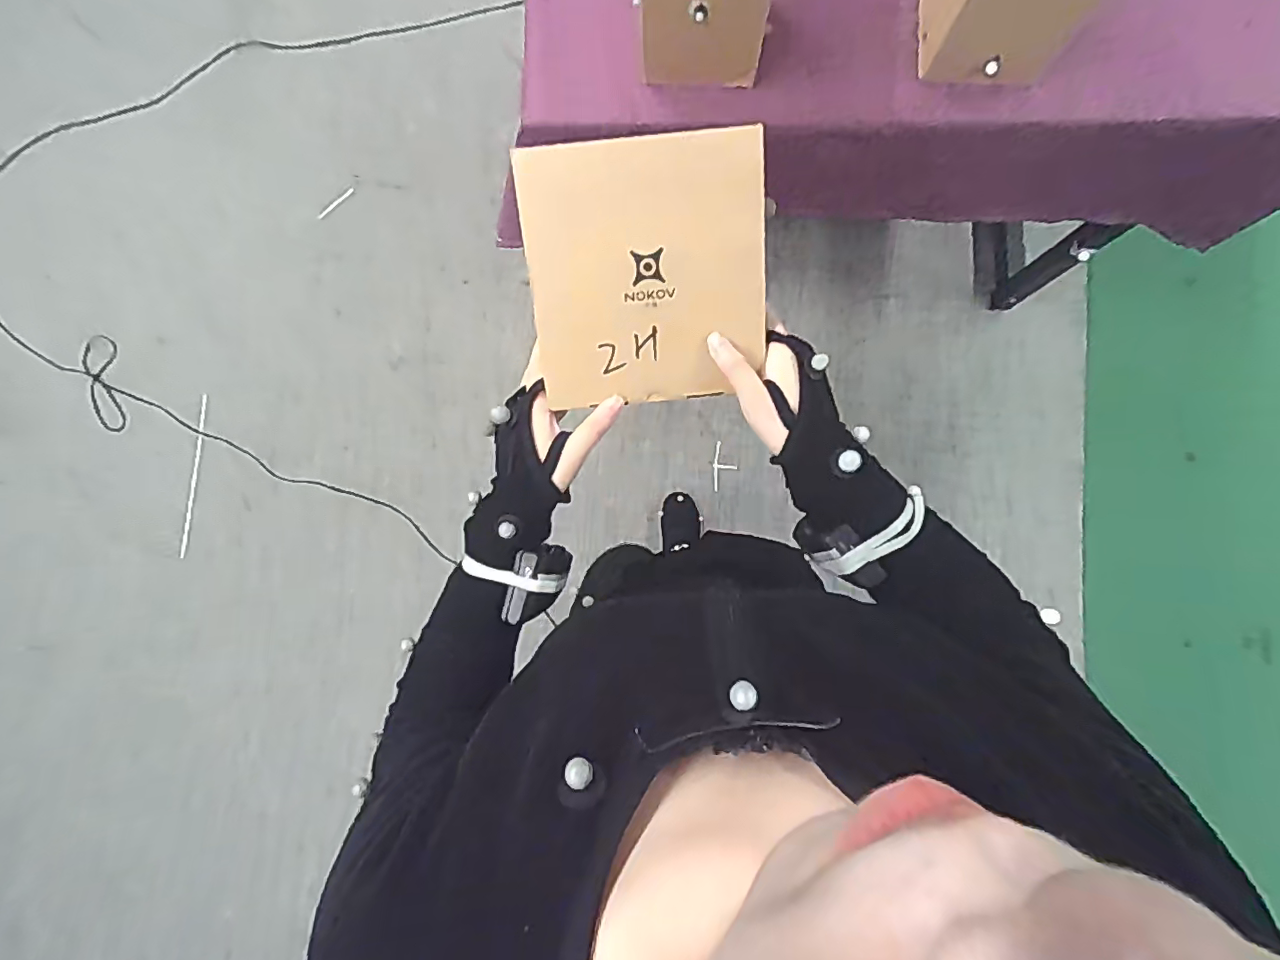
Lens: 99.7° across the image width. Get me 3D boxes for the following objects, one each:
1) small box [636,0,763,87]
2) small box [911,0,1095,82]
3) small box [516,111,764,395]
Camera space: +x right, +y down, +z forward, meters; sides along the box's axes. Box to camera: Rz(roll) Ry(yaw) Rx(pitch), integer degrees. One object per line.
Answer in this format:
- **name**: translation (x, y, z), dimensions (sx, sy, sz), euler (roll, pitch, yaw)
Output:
- **small box**: translation (0.087, -0.707, 0.777), dimensions (0.179, 0.176, 0.168), euler (5, 85, 3)
- **small box**: translation (0.508, -0.698, 0.756), dimensions (0.179, 0.176, 0.168), euler (4, 84, 3)
- **small box**: translation (0.003, -0.178, 0.453), dimensions (0.168, 0.176, 0.179), euler (-5, 110, 1)
